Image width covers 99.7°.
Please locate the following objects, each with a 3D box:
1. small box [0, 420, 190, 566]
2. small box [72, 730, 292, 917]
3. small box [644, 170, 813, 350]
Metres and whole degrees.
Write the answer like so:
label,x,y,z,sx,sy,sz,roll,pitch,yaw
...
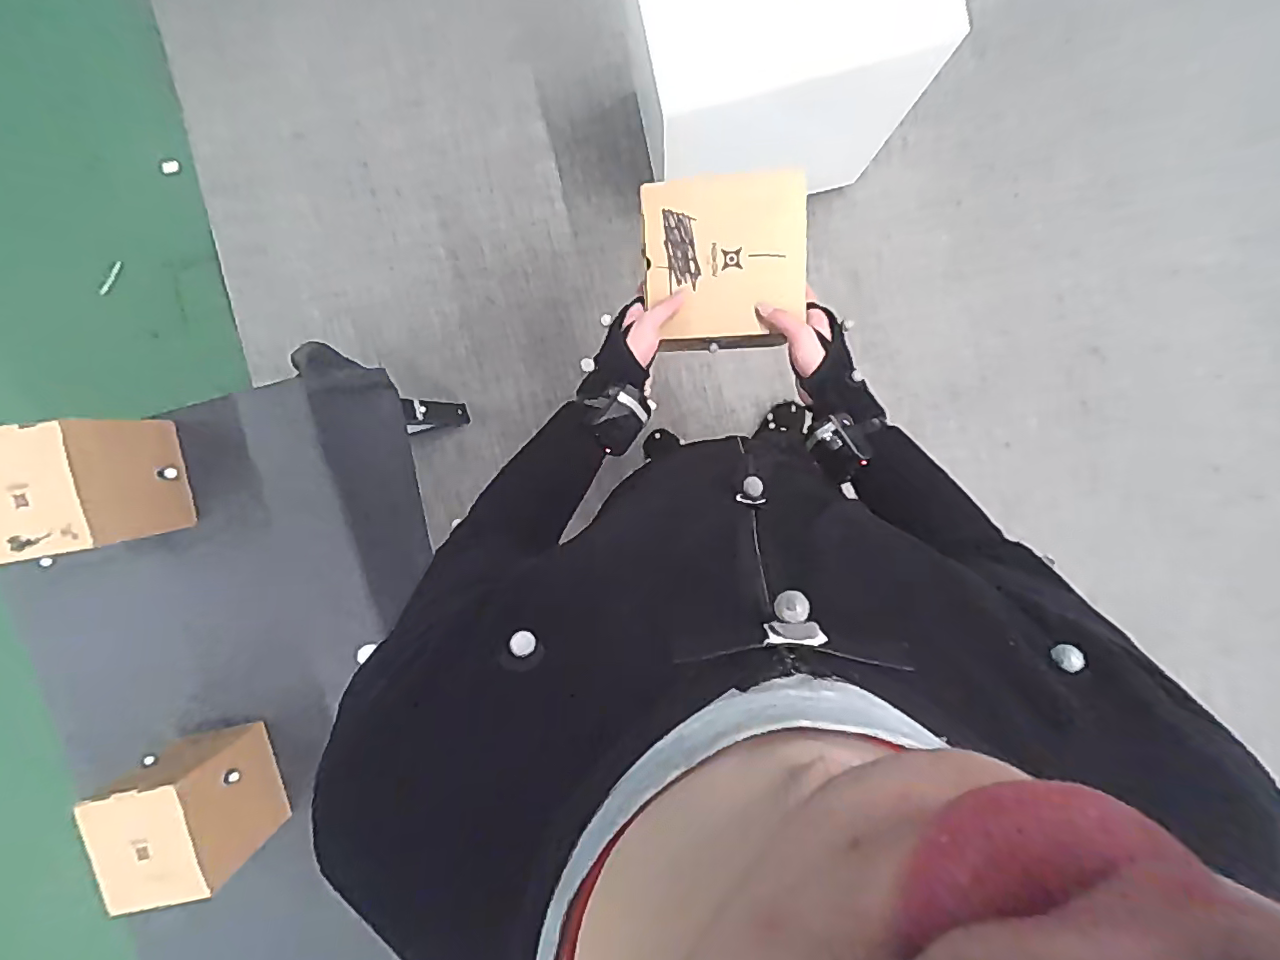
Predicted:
label,x,y,z,sx,sy,sz,roll,pitch,yaw
small box,-0.810,0.013,0.780,0.168,0.176,0.179,-9,96,3
small box,-0.689,0.514,0.836,0.168,0.176,0.179,-14,97,5
small box,0.101,-0.249,0.654,0.179,0.176,0.168,-2,99,4
